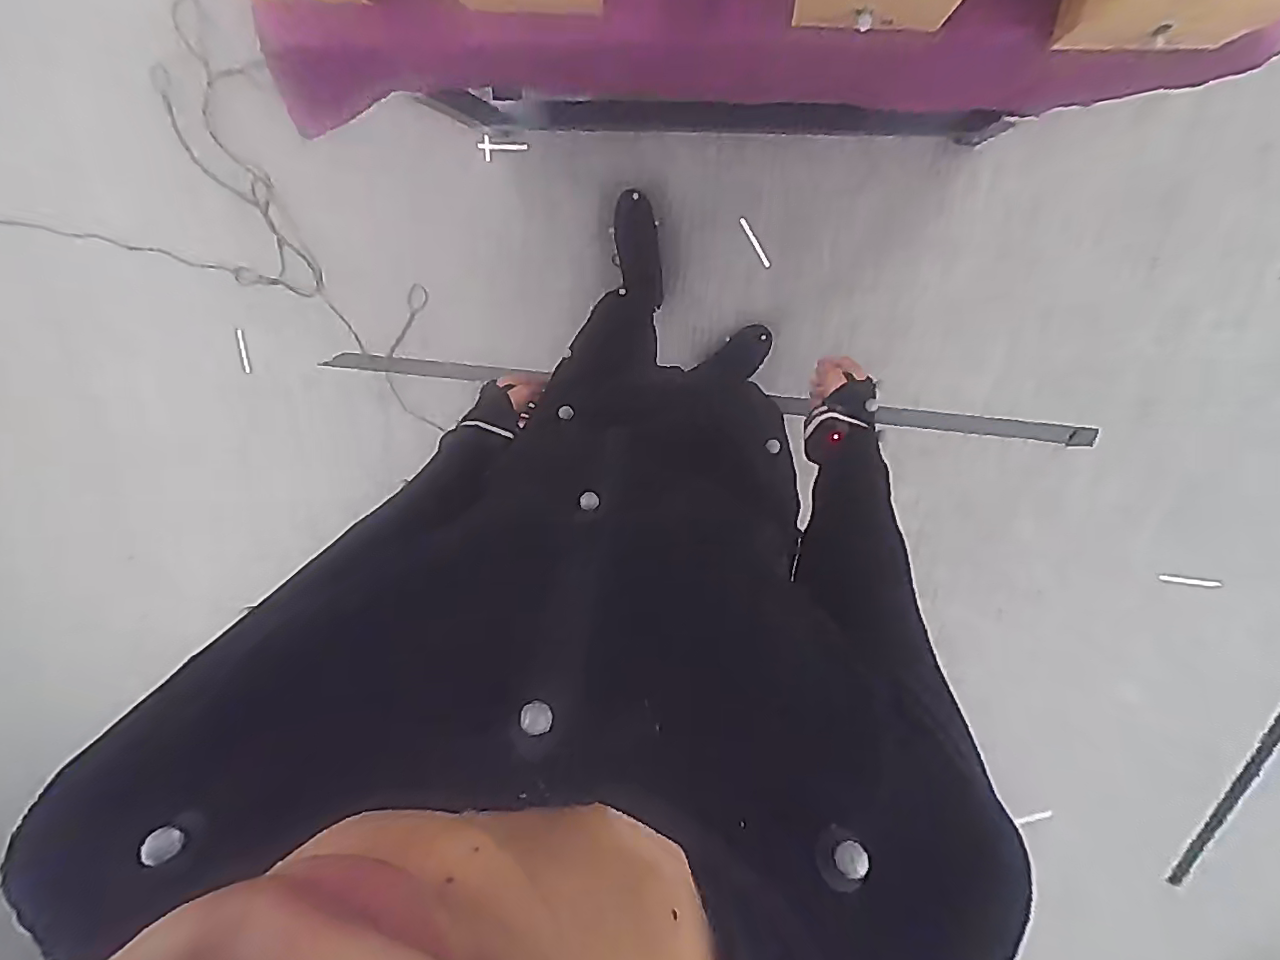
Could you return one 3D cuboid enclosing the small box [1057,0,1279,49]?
[{"bbox_3d":[0.524,-0.526,0.484,0.168,0.176,0.179,7,113,9],"label":"small box"}]
